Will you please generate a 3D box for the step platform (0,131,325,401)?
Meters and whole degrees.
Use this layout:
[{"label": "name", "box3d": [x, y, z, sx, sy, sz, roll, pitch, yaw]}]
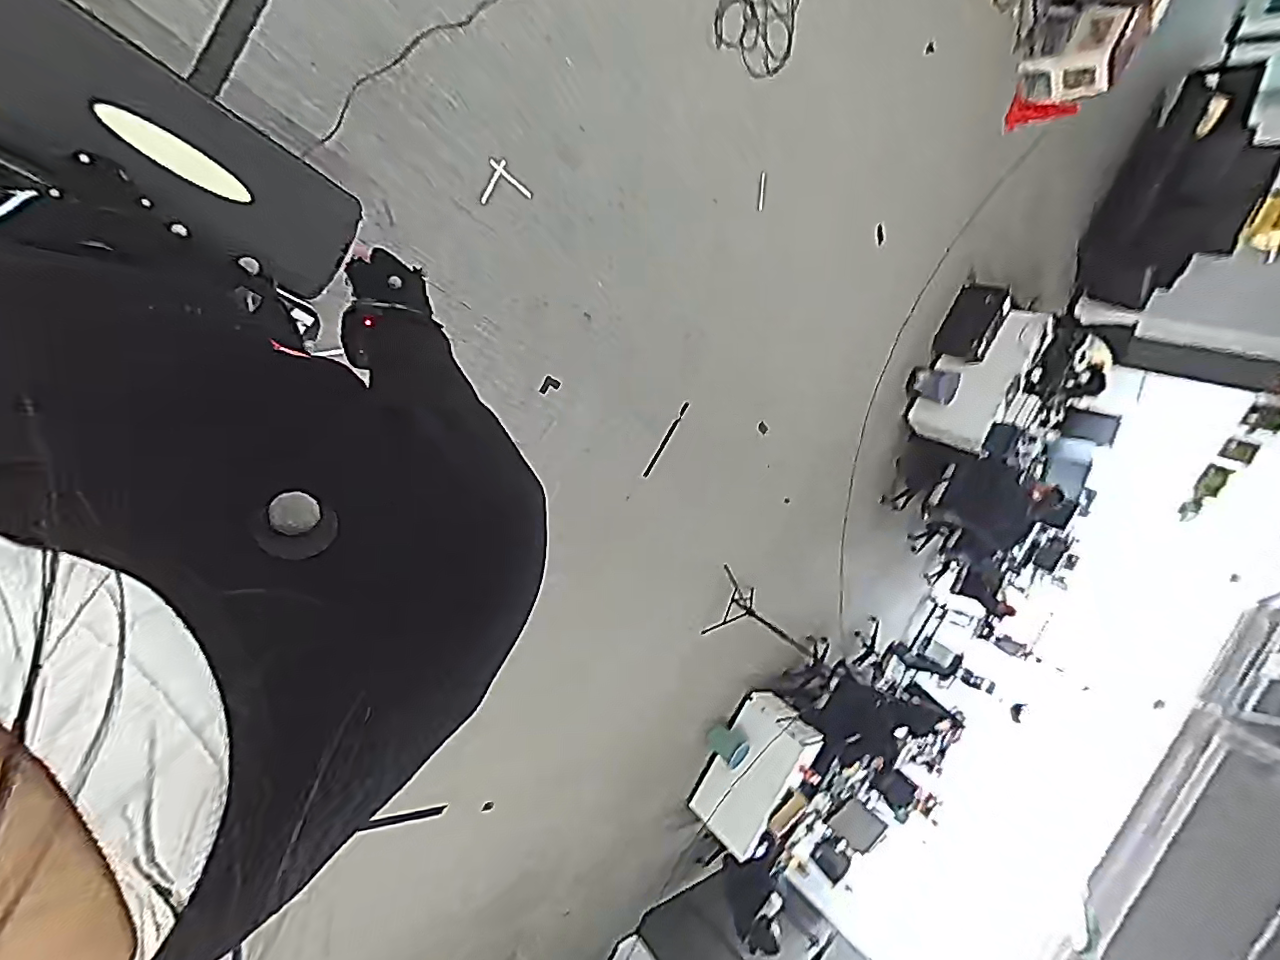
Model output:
[{"label": "step platform", "box3d": [-1.031, -0.414, 1.084, 0.684, 0.204, 0.286, 25, 94, -49]}]
